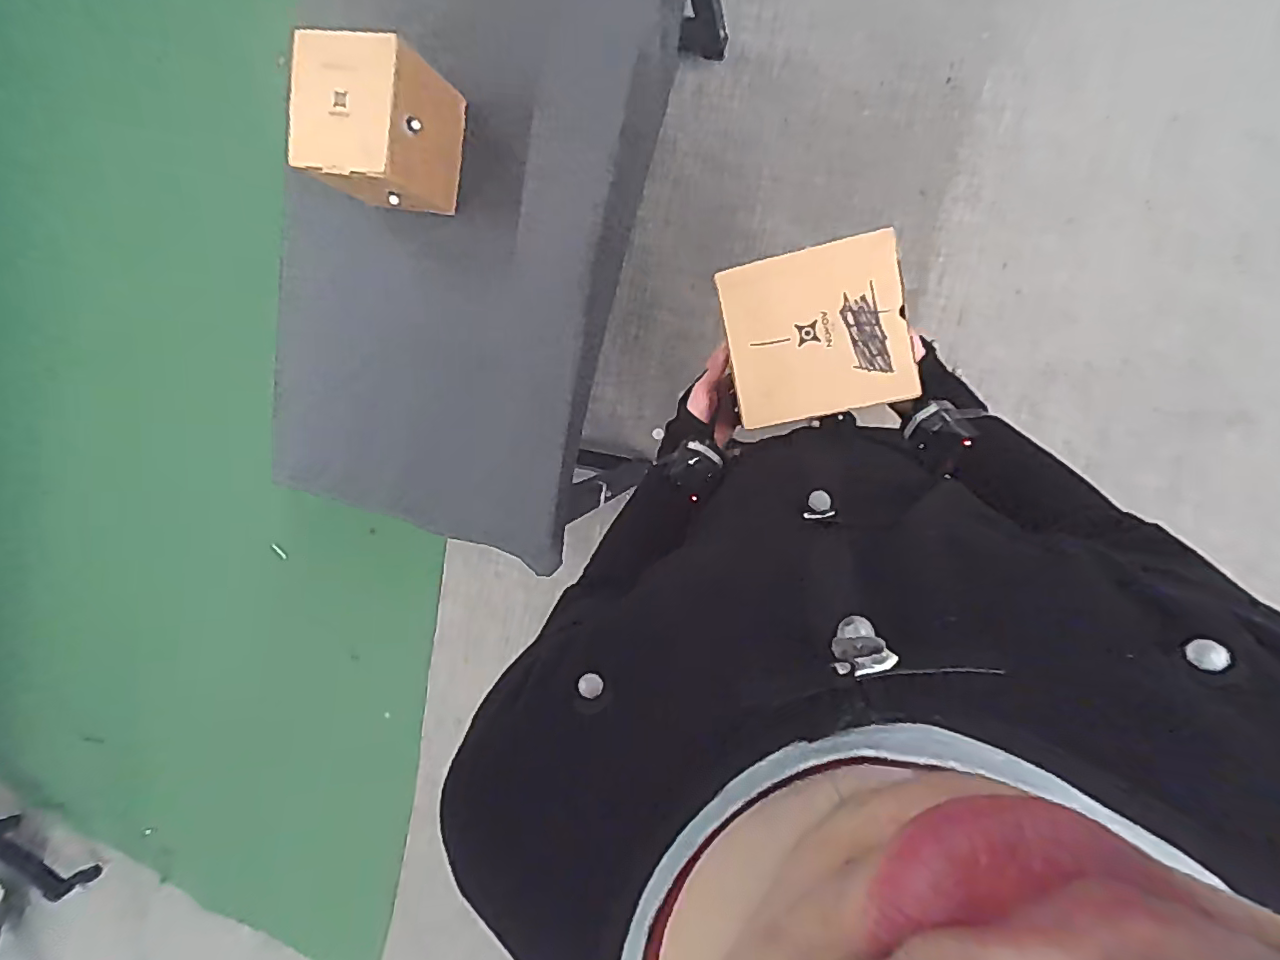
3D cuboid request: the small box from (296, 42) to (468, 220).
[{"bbox_3d":[-0.382,-0.515,0.822,0.168,0.176,0.179,12,100,13],"label":"small box"}]
